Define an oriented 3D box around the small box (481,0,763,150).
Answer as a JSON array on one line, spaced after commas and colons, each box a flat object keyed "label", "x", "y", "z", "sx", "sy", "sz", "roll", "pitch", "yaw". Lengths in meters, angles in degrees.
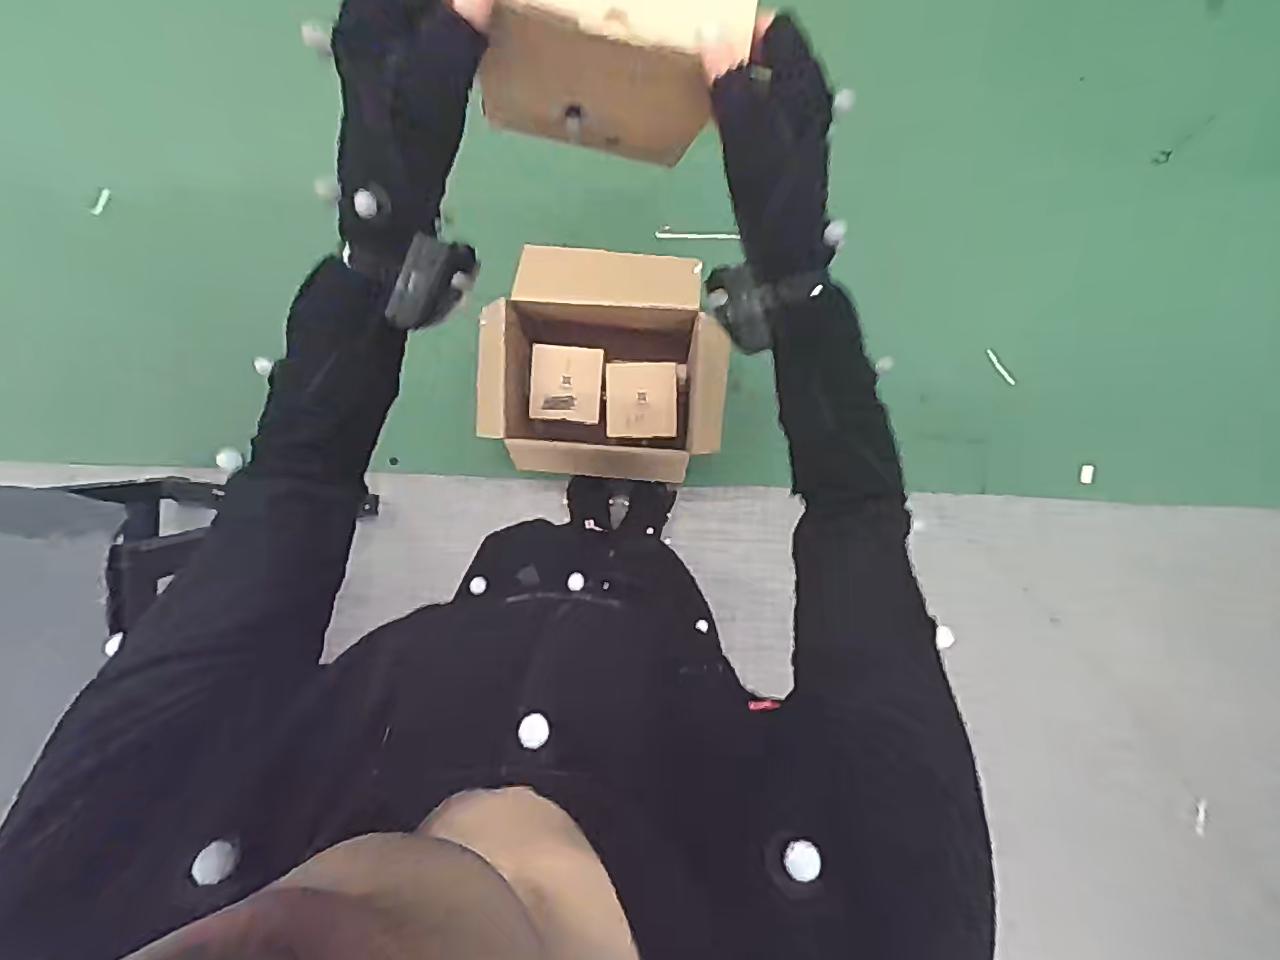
[{"label": "small box", "x": -0.017, "y": -0.362, "z": 0.365, "sx": 0.168, "sy": 0.176, "sz": 0.179, "roll": 5, "pitch": 101, "yaw": -13}]
